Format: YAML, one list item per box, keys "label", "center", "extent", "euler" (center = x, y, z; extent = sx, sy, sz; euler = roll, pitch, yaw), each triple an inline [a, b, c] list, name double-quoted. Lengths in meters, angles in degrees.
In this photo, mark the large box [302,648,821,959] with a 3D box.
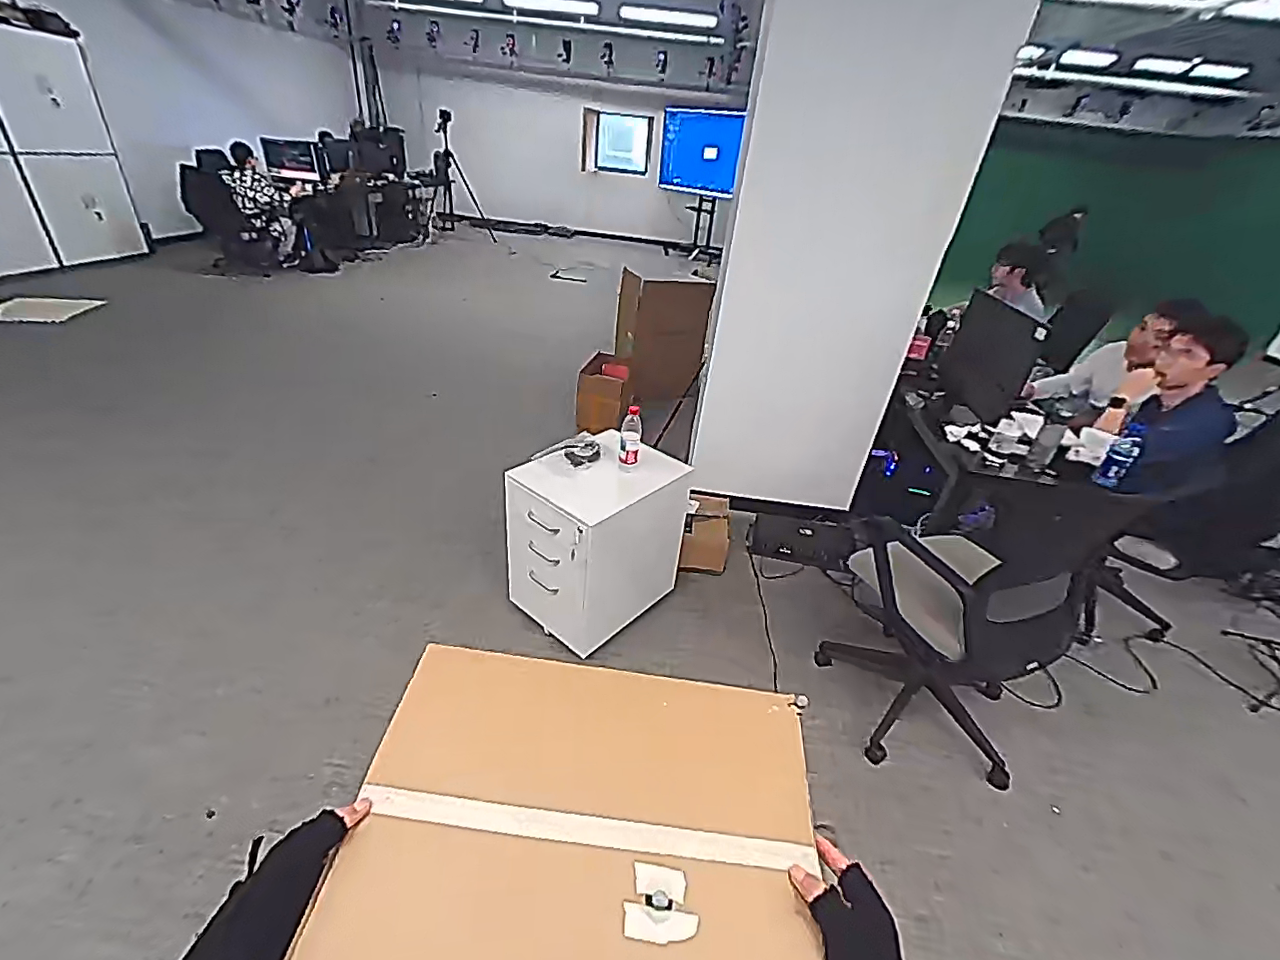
- label: "large box"
  center: [-0.062, 0.422, 0.582]
  extent: [0.408, 0.320, 0.320]
  euler: [8, 41, 0]
